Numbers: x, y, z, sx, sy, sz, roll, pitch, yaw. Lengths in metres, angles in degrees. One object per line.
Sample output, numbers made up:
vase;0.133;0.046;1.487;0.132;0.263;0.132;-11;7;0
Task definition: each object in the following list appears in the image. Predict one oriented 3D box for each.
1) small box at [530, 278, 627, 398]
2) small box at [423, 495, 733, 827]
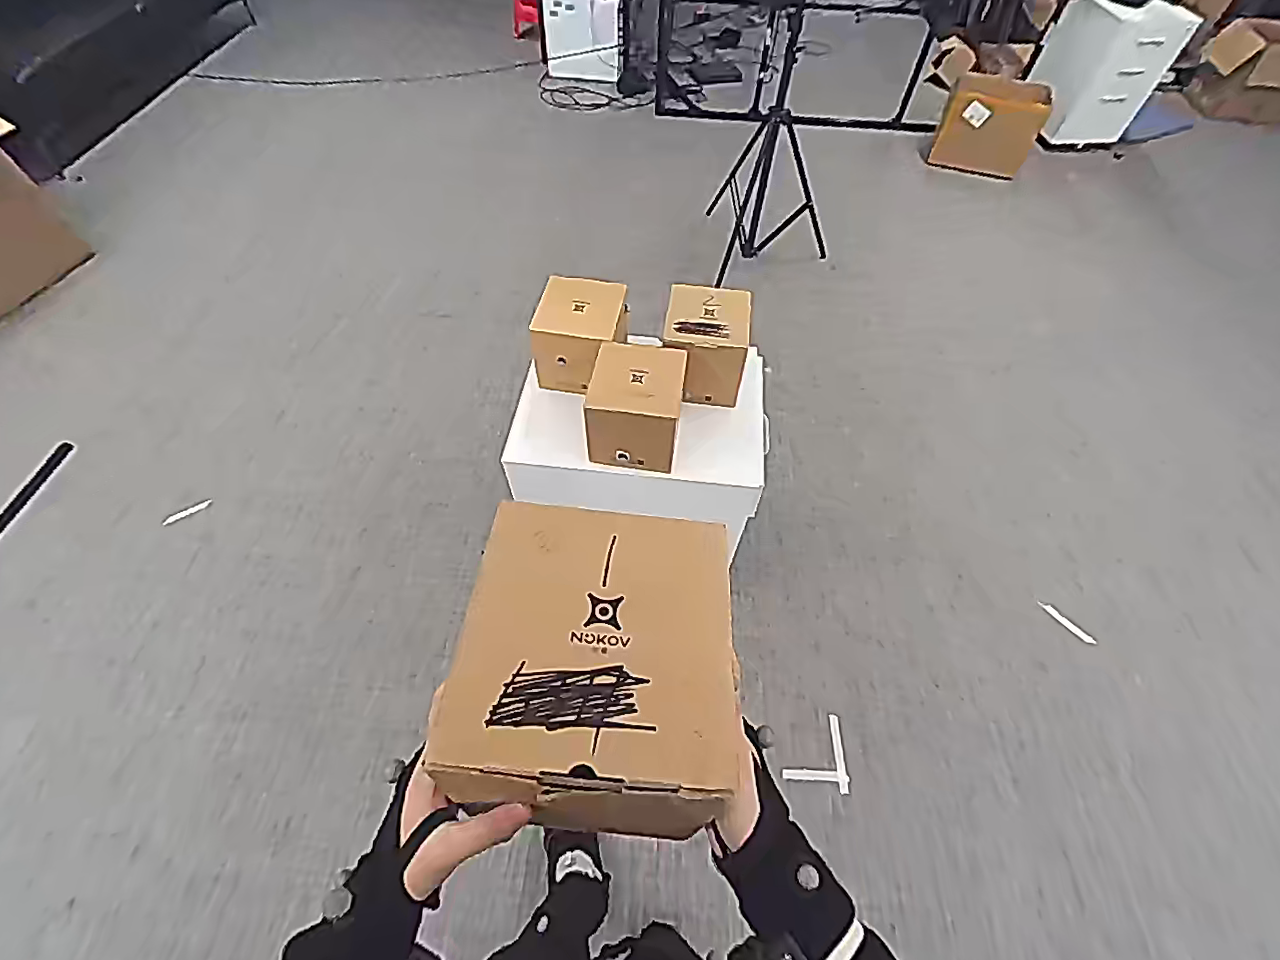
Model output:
small box;-0.119;-0.294;1.140;0.168;0.176;0.179;8;56;4
small box;-0.032;0.135;0.392;0.168;0.176;0.179;6;49;-2
